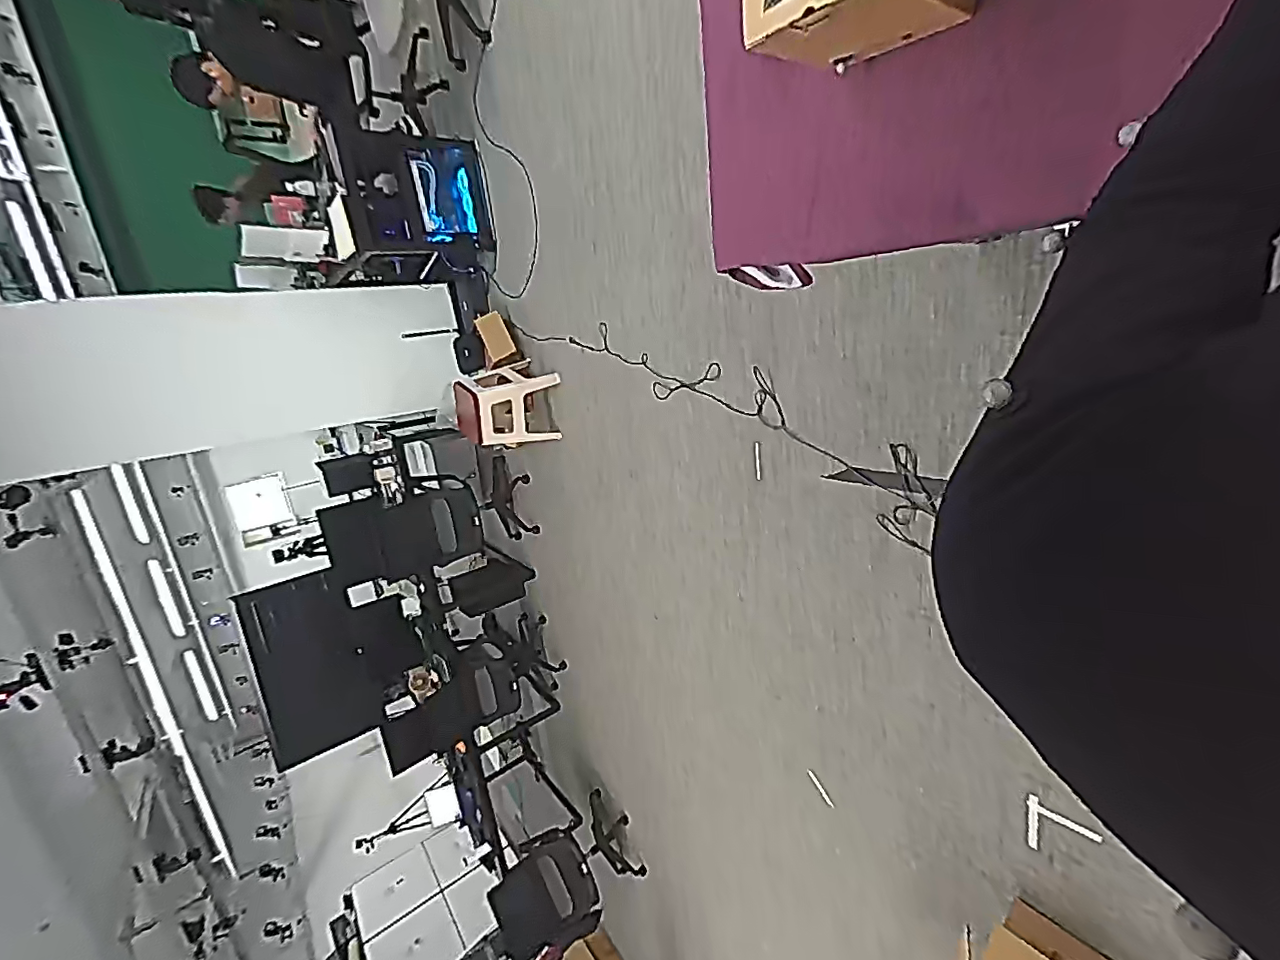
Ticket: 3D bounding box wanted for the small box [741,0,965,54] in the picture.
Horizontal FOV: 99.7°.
[{"bbox_3d":[0.217,-0.554,0.532,0.168,0.176,0.179,21,122,49],"label":"small box"}]
